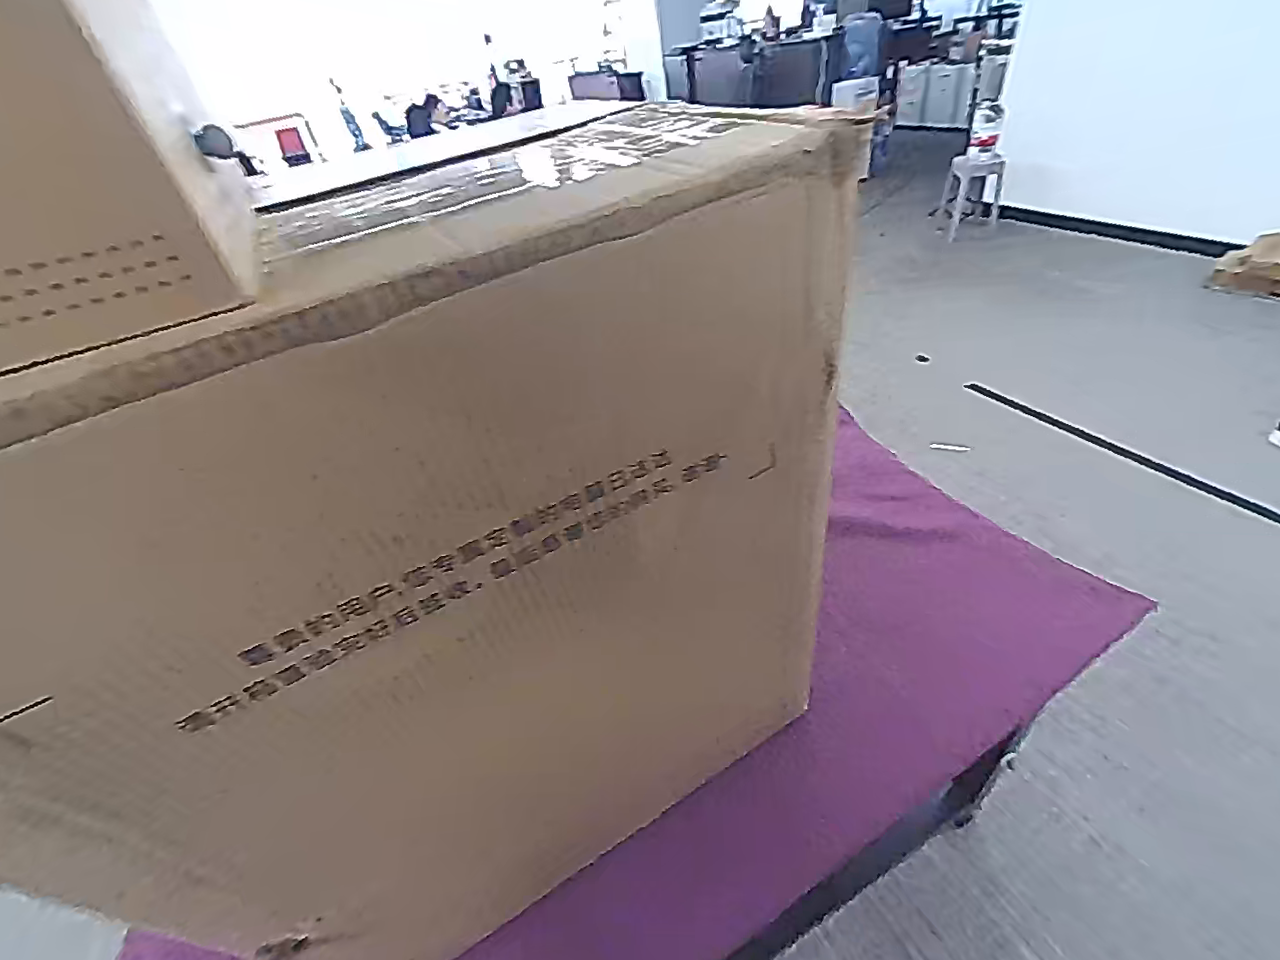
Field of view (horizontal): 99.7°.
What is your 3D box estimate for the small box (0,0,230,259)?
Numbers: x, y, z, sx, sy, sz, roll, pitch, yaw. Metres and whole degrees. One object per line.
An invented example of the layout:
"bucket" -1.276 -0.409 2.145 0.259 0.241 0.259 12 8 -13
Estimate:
"small box" -0.362 -0.226 0.293 0.168 0.176 0.179 -26 41 -17
